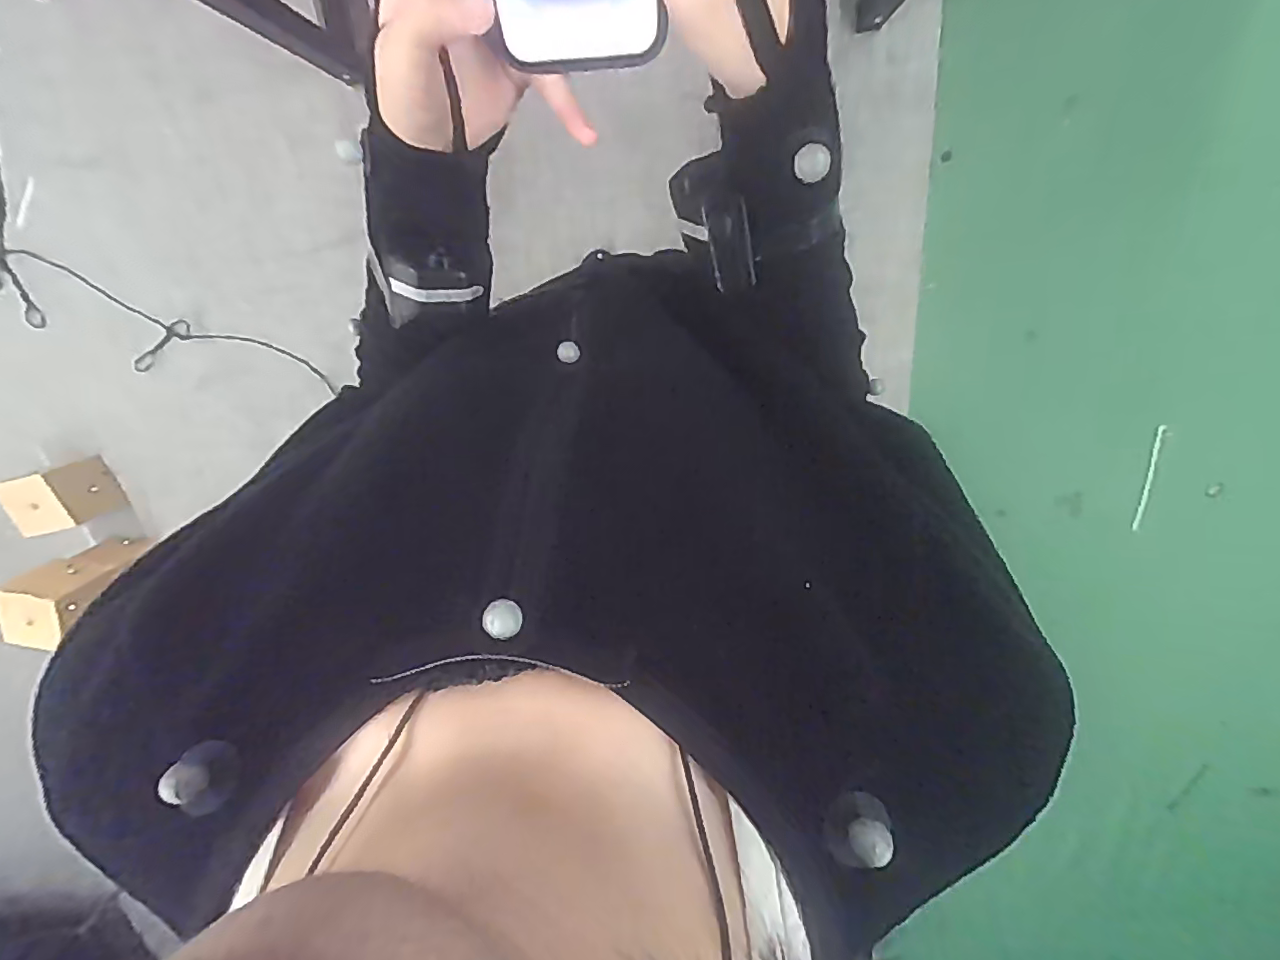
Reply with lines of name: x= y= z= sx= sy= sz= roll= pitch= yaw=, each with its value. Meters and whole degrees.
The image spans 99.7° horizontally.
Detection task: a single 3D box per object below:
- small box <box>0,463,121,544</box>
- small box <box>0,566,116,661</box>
small box: x=-1.669 y=0.062 z=1.561 sx=0.179 sy=0.176 sz=0.168 roll=-11 pitch=110 yaw=7
small box: x=-1.619 y=0.366 z=1.504 sx=0.168 sy=0.176 sz=0.179 roll=11 pitch=110 yaw=-1
